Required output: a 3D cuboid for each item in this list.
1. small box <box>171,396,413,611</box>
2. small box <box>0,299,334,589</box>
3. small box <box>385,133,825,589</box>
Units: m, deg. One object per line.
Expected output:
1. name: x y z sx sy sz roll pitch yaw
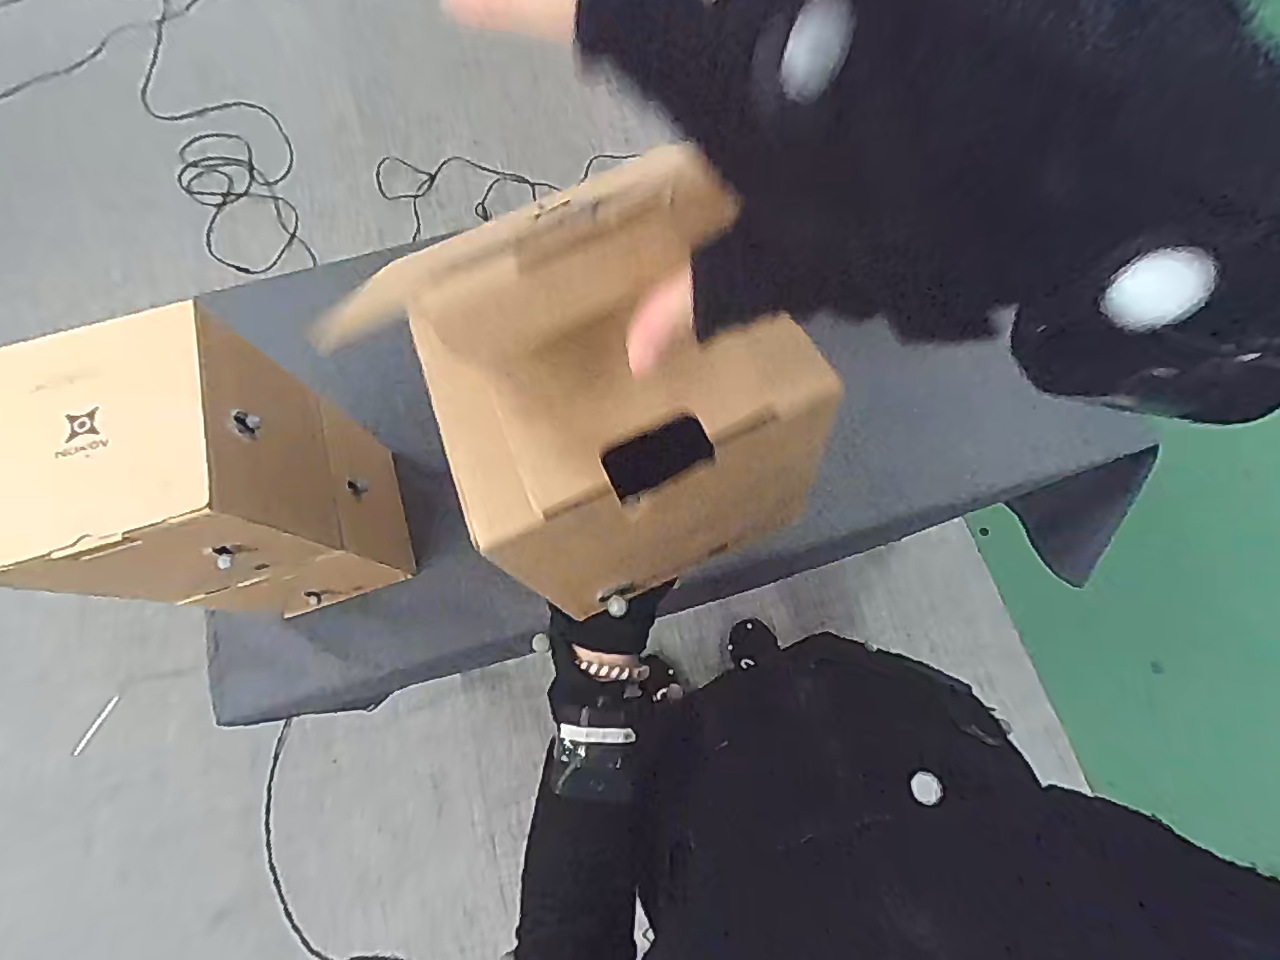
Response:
1. small box: -0.382 0.036 0.611 0.168 0.176 0.179 -18 73 -5
2. small box: -0.386 -0.013 0.455 0.168 0.176 0.179 -16 73 -5
3. small box: -0.015 -0.051 0.322 0.168 0.176 0.179 -26 62 -2
